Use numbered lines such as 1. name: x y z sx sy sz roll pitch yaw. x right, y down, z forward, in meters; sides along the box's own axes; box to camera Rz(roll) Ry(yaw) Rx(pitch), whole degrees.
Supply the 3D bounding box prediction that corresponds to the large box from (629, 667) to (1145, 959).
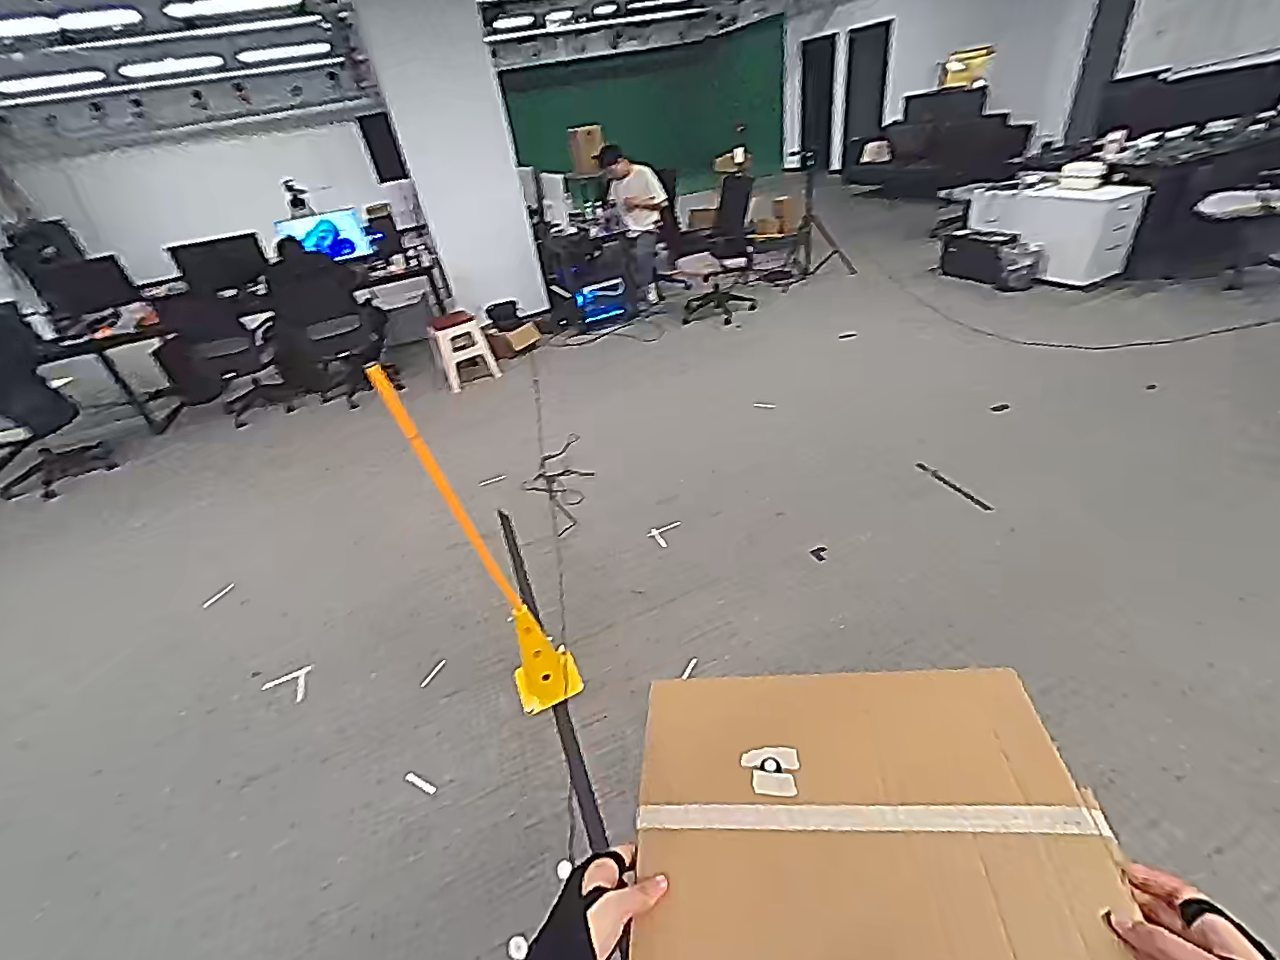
1. large box: 0.225 0.444 0.599 0.408 0.320 0.320 -8 35 12
